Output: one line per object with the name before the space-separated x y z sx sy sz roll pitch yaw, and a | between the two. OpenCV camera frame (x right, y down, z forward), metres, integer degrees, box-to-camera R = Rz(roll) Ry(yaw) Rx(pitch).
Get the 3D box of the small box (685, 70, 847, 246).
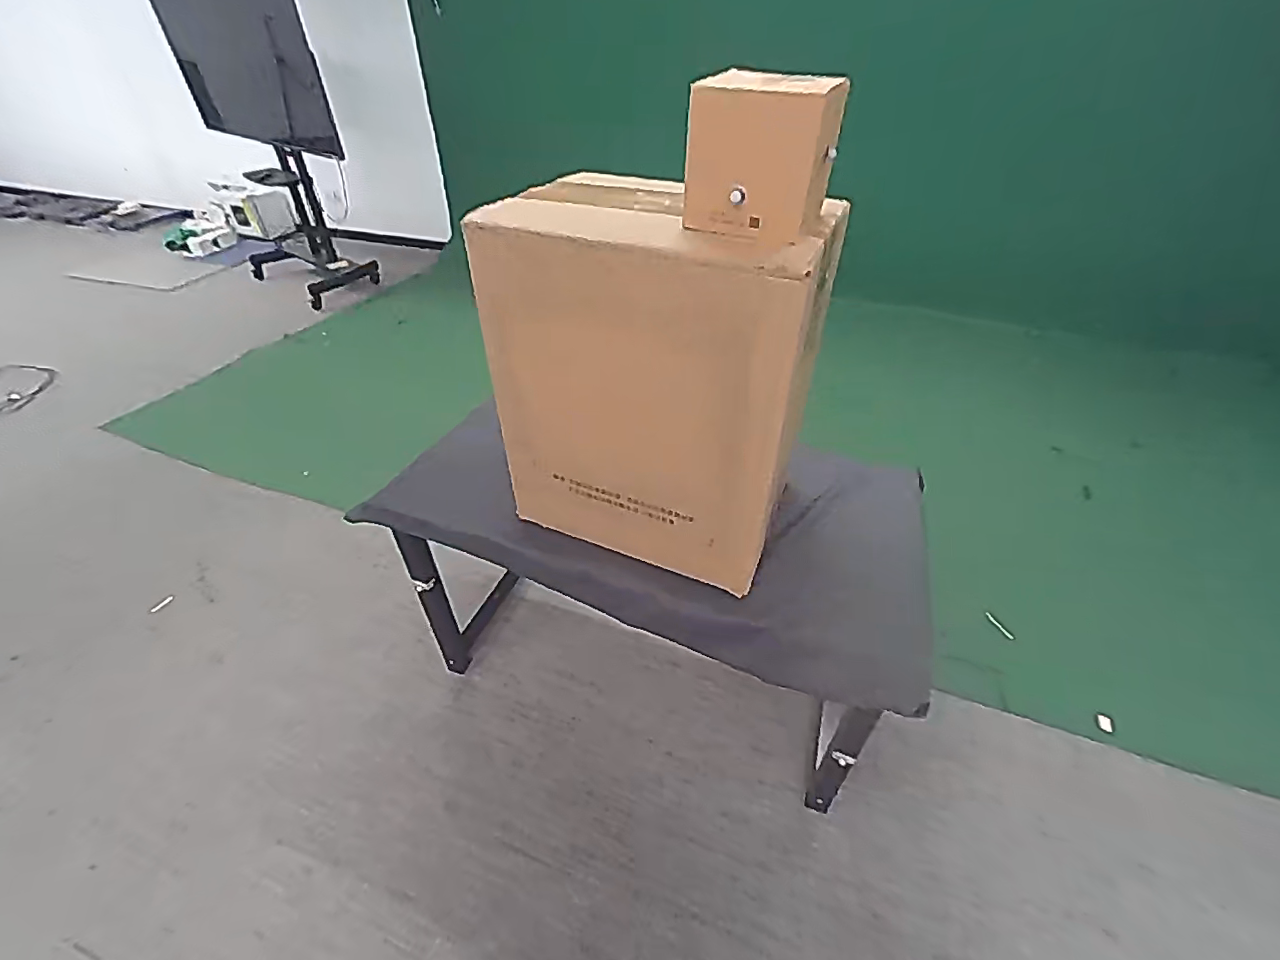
small box | 0.167 -0.445 0.744 0.168 0.176 0.179 18 45 17
